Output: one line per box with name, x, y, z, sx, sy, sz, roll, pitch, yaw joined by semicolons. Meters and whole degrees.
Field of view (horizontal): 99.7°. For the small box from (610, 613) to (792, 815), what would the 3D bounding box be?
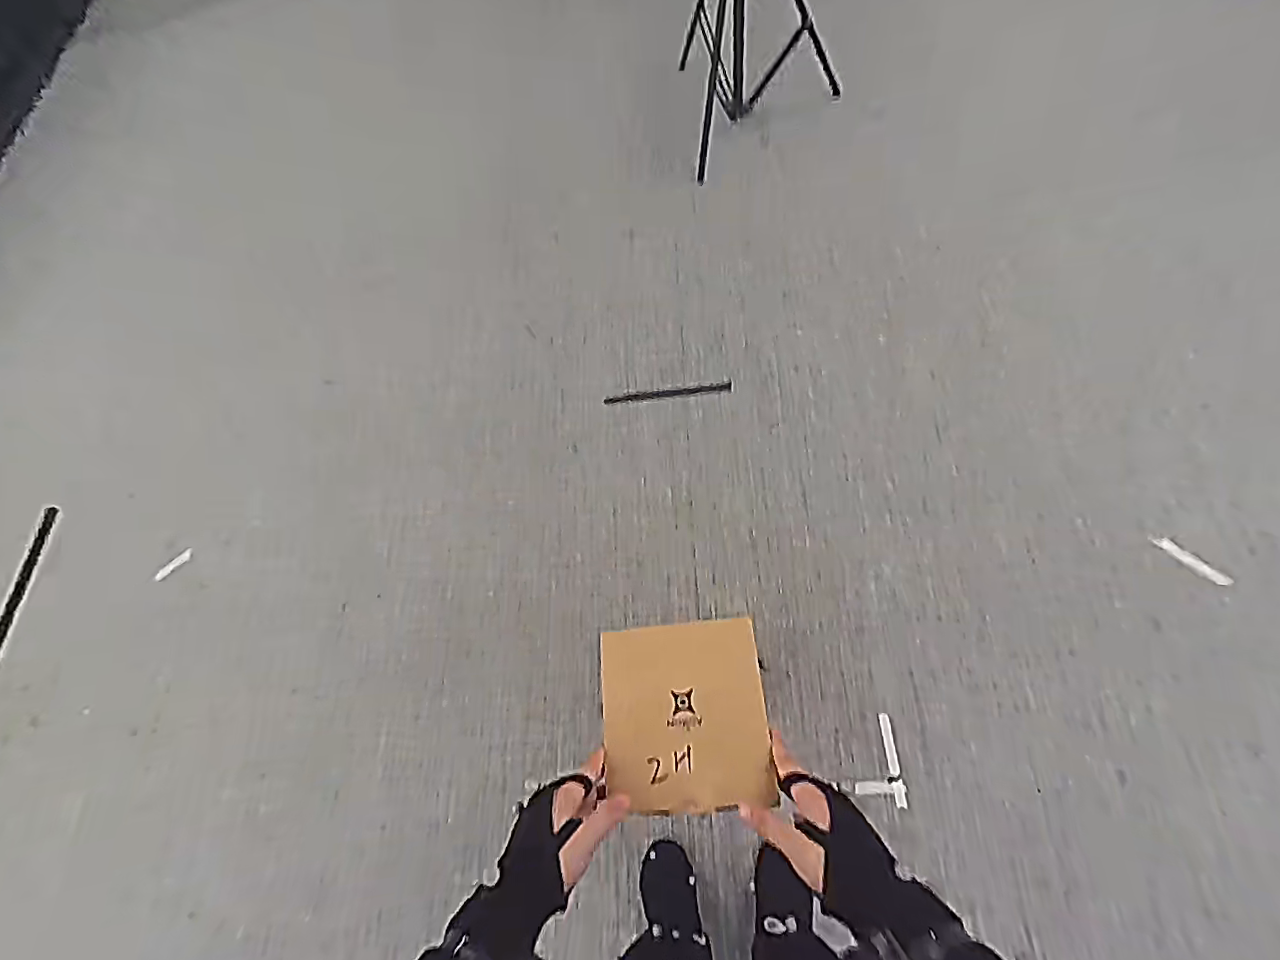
small box;0.065;0.259;0.601;0.168;0.176;0.179;-8;64;7
